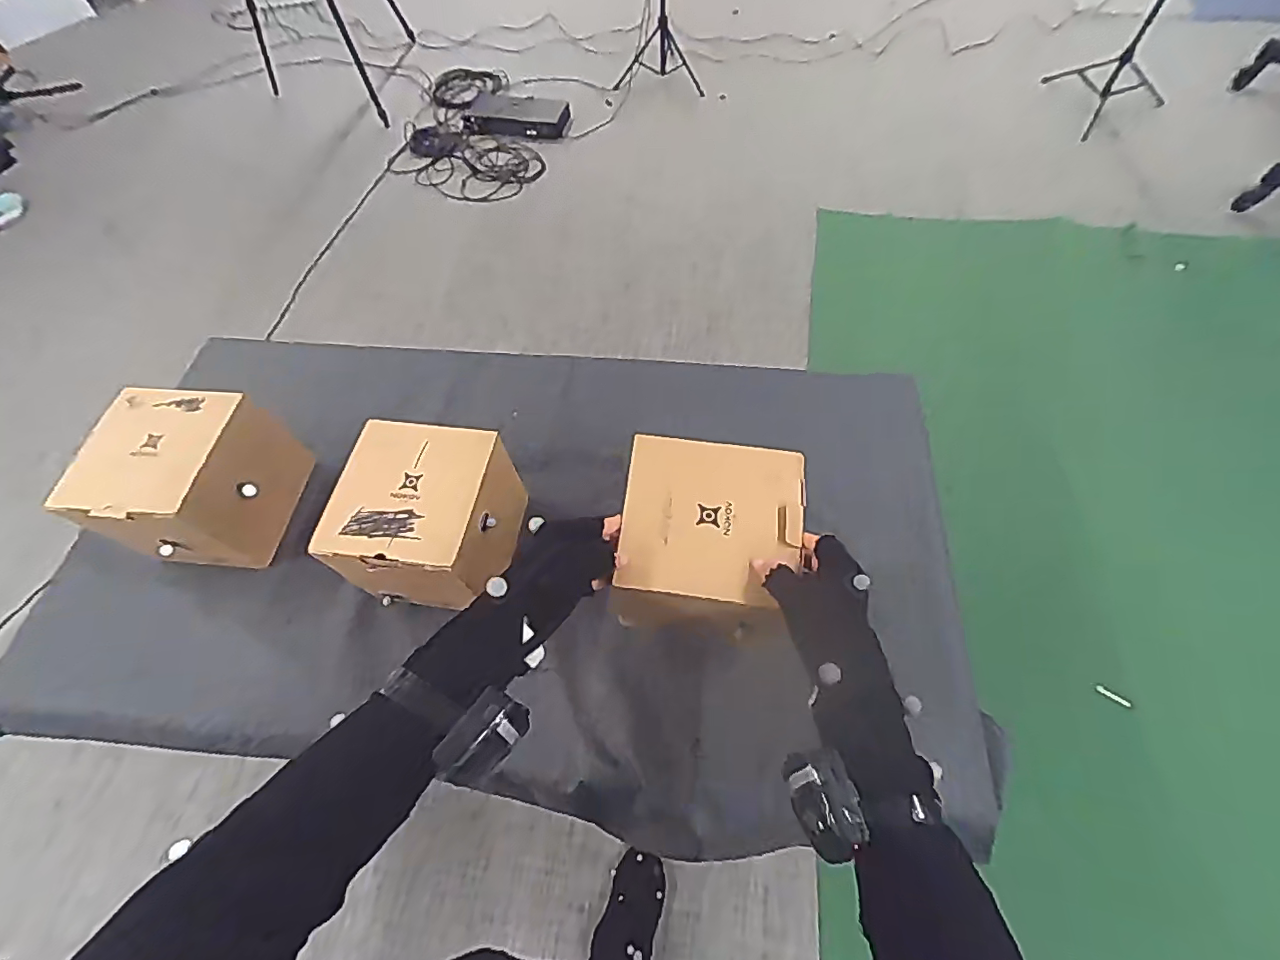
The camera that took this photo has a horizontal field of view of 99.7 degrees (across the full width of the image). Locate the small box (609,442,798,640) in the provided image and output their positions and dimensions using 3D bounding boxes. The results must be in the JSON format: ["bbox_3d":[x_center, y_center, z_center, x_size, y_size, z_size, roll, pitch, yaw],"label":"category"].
[{"bbox_3d":[0.070,0.076,0.603,0.179,0.176,0.168,5,63,6],"label":"small box"}]

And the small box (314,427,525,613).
[{"bbox_3d":[-0.258,0.057,0.684,0.168,0.176,0.179,6,60,7],"label":"small box"}]

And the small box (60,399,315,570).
[{"bbox_3d":[-0.583,0.012,0.729,0.168,0.176,0.179,3,61,5],"label":"small box"}]
